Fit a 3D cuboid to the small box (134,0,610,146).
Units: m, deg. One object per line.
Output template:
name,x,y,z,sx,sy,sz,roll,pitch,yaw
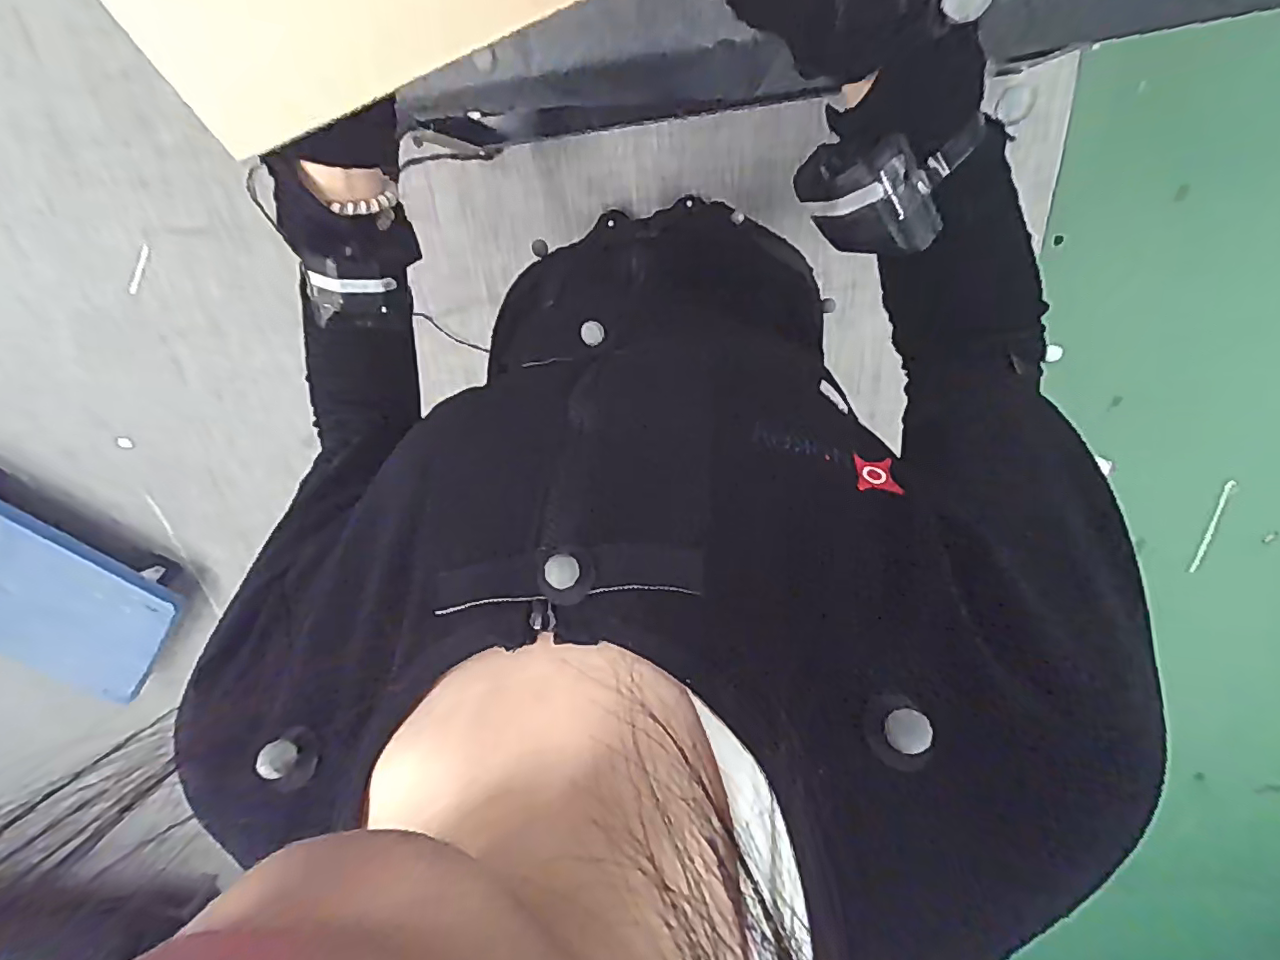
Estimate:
small box,-0.089,-0.249,0.167,0.168,0.176,0.179,-15,136,12
